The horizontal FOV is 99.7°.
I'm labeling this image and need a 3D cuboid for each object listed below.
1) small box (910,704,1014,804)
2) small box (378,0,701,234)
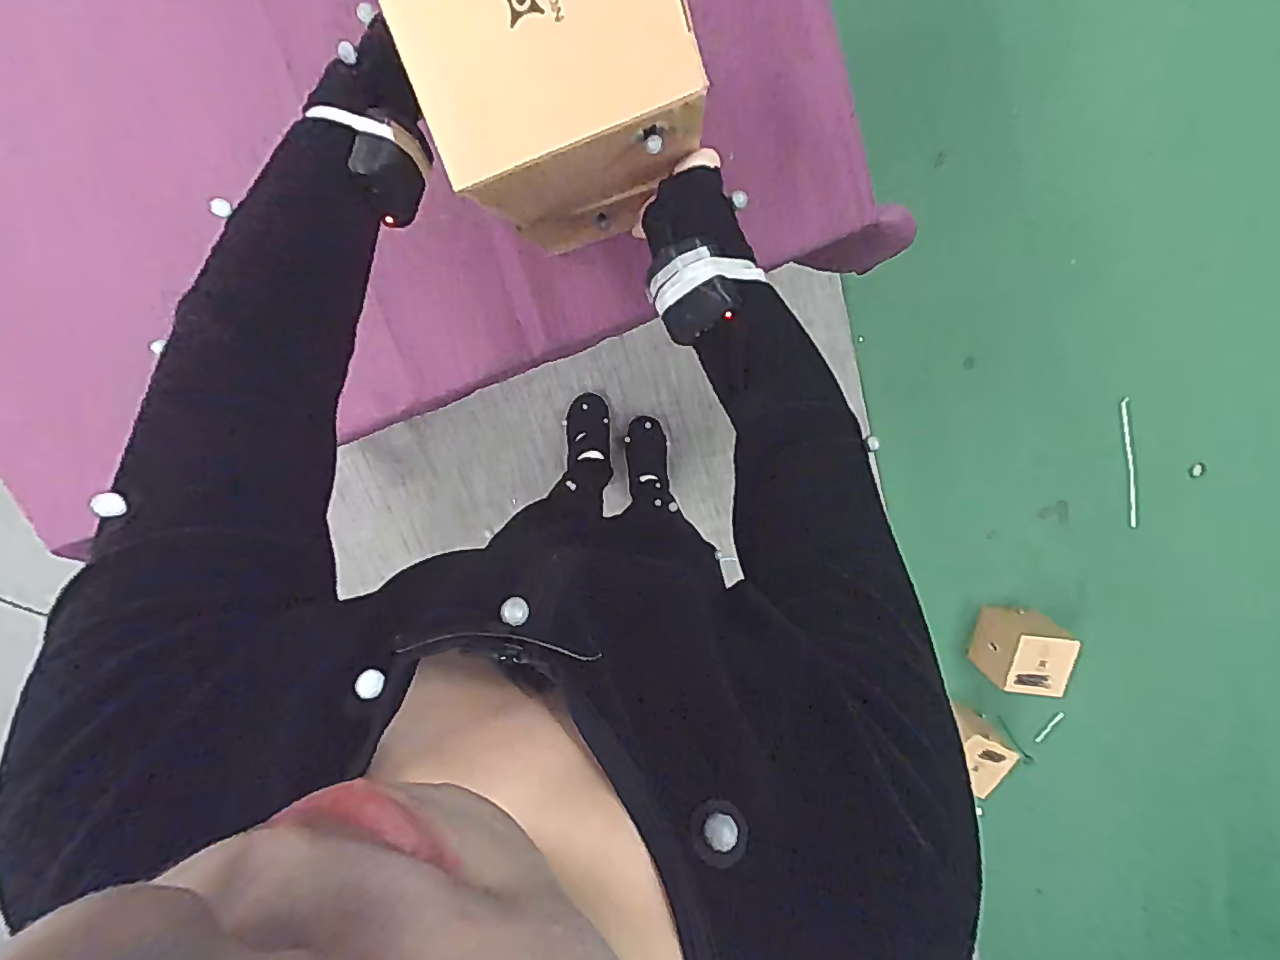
[{"bbox_3d":[0.945,0.807,1.608,0.168,0.176,0.179,27,104,-7],"label":"small box"},{"bbox_3d":[-0.063,-0.306,0.405,0.179,0.176,0.168,-19,103,7],"label":"small box"}]
